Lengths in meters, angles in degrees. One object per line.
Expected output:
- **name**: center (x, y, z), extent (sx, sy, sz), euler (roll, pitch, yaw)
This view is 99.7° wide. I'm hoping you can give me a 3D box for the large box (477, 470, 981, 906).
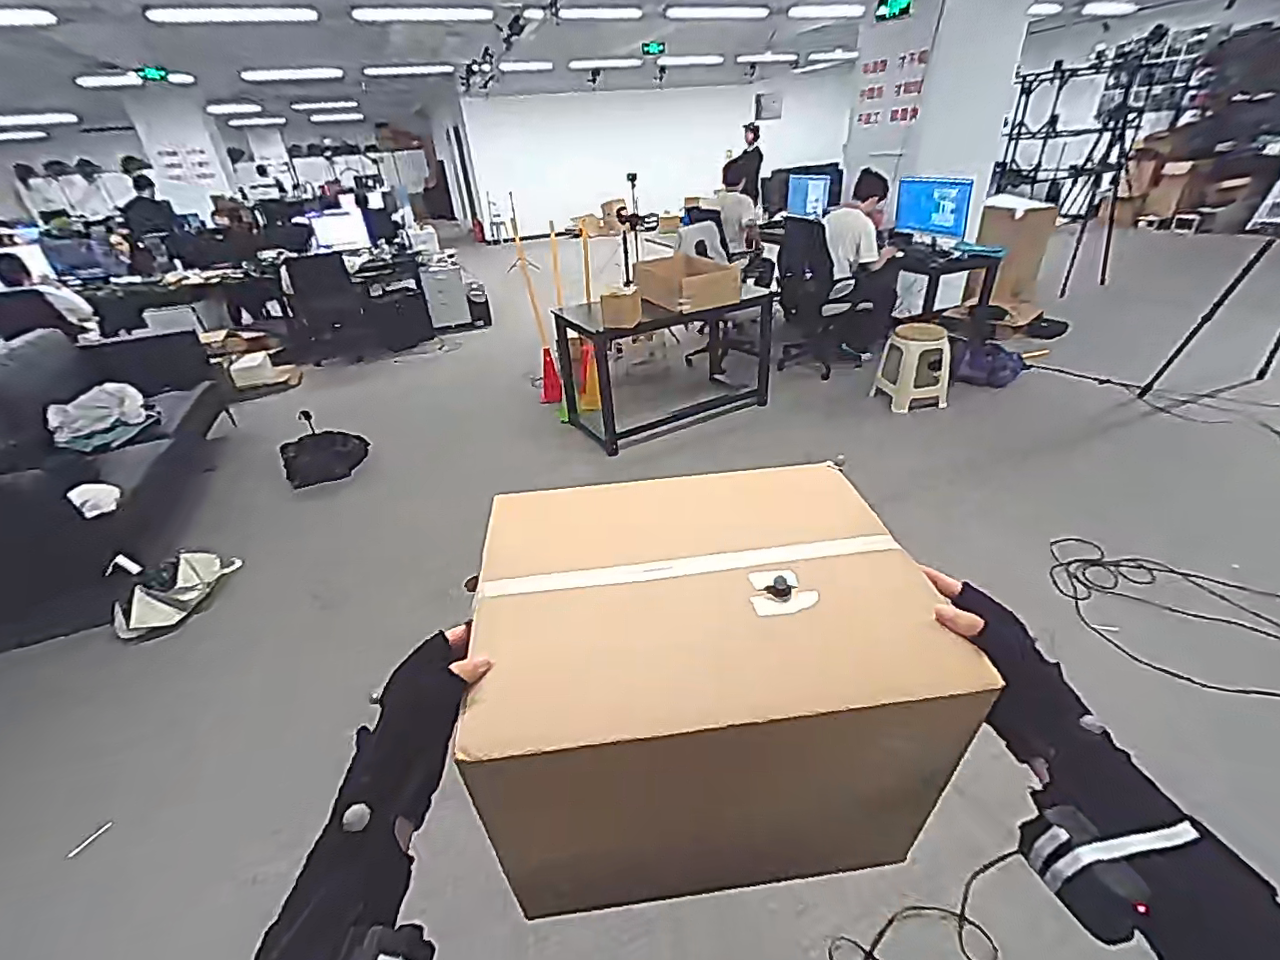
- **large box**: center (0.060, 0.213, 0.611), extent (0.408, 0.320, 0.320), euler (-5, 35, -5)
